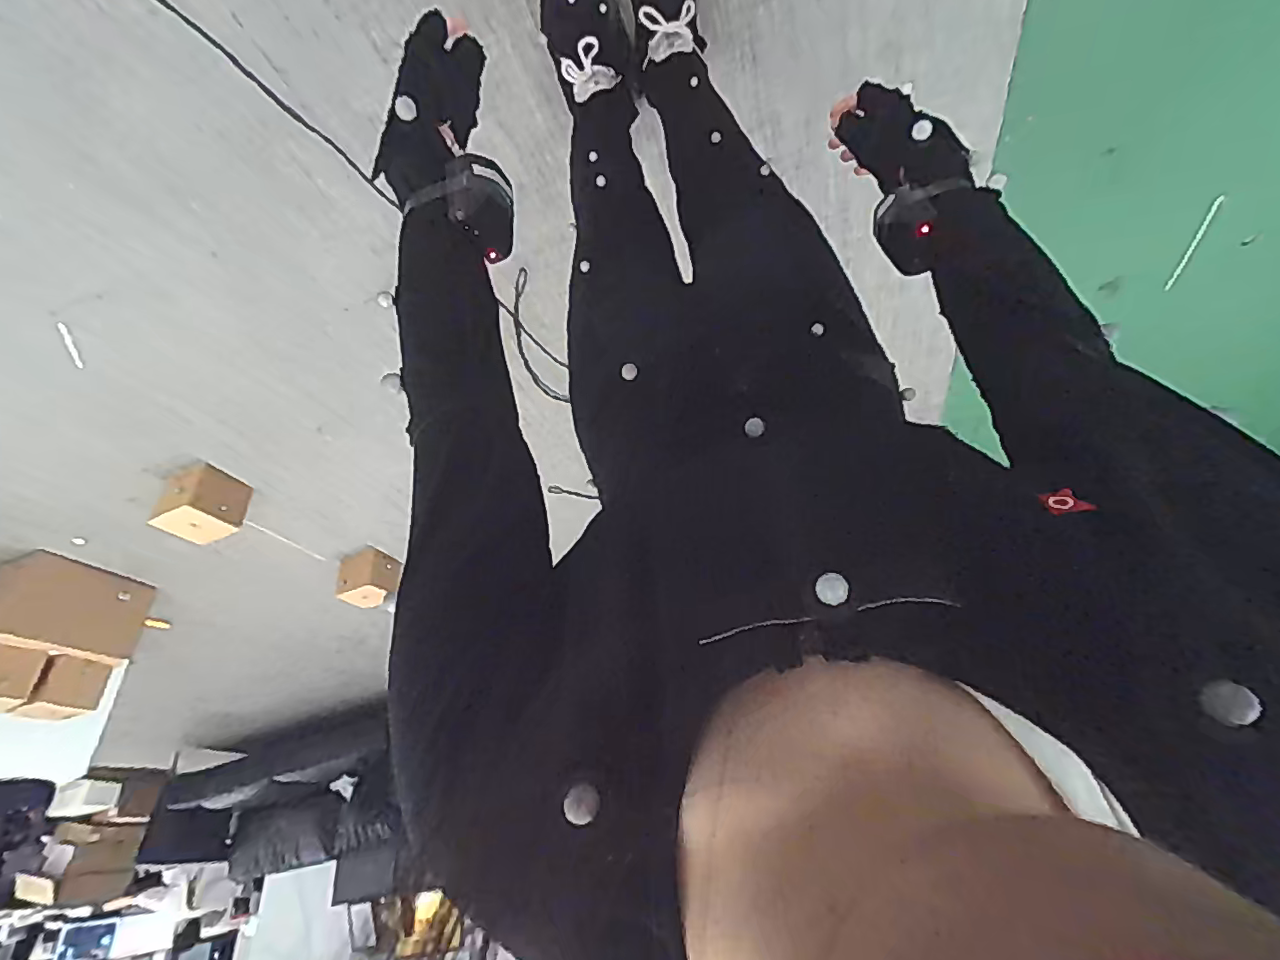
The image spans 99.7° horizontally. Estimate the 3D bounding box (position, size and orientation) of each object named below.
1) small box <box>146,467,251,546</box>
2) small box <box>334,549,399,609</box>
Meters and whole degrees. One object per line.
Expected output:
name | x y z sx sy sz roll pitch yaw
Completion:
small box | -1.383 0.077 1.706 0.168 0.176 0.179 -20 145 12
small box | -1.130 0.411 2.248 0.179 0.176 0.168 -19 145 12
